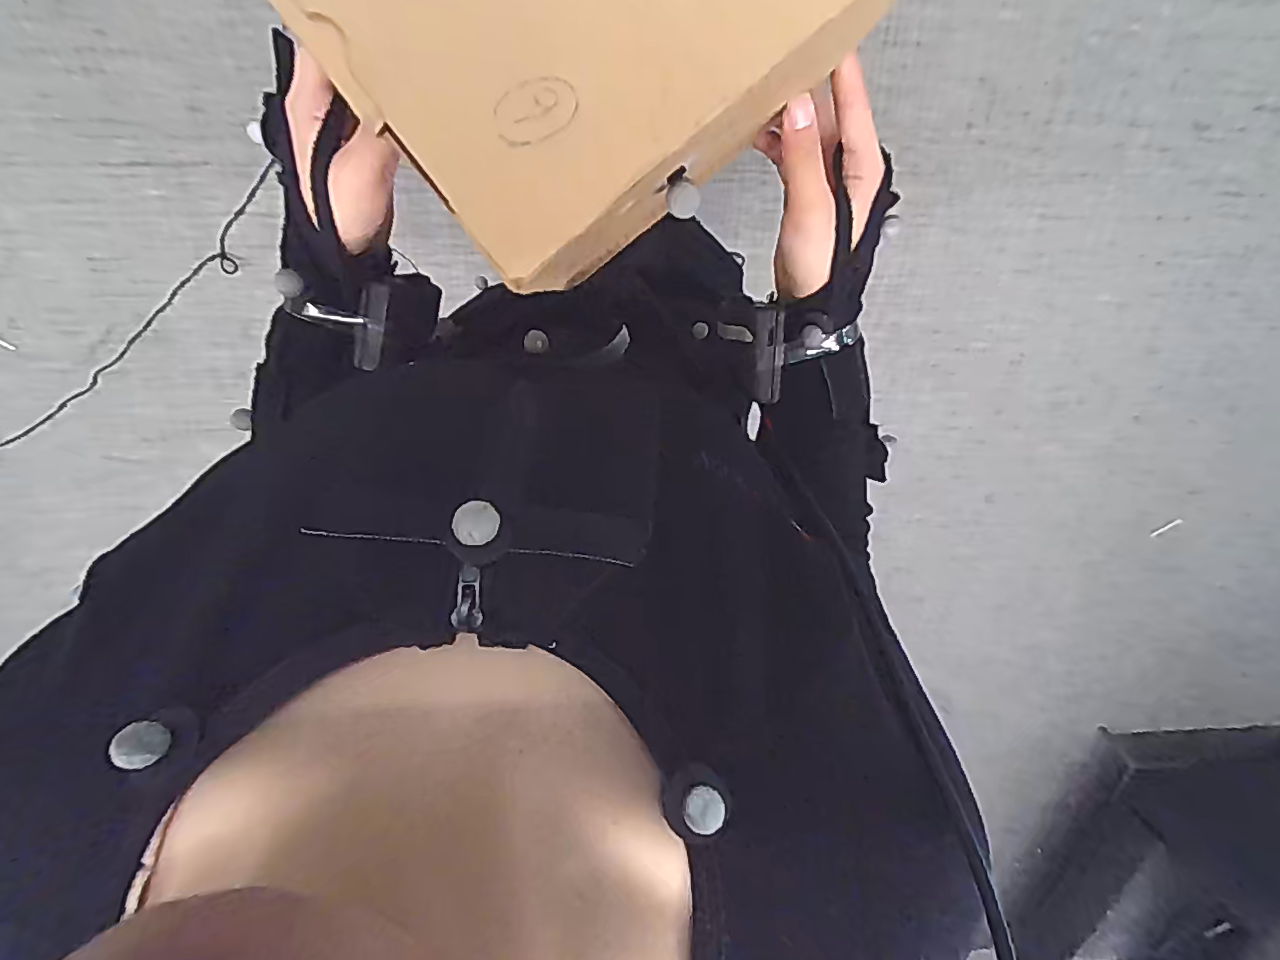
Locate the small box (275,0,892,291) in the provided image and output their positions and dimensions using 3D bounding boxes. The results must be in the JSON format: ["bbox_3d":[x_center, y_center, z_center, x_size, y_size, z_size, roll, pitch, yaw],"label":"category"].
[{"bbox_3d":[-0.020,-0.196,0.219,0.179,0.176,0.168,-35,106,12],"label":"small box"}]
